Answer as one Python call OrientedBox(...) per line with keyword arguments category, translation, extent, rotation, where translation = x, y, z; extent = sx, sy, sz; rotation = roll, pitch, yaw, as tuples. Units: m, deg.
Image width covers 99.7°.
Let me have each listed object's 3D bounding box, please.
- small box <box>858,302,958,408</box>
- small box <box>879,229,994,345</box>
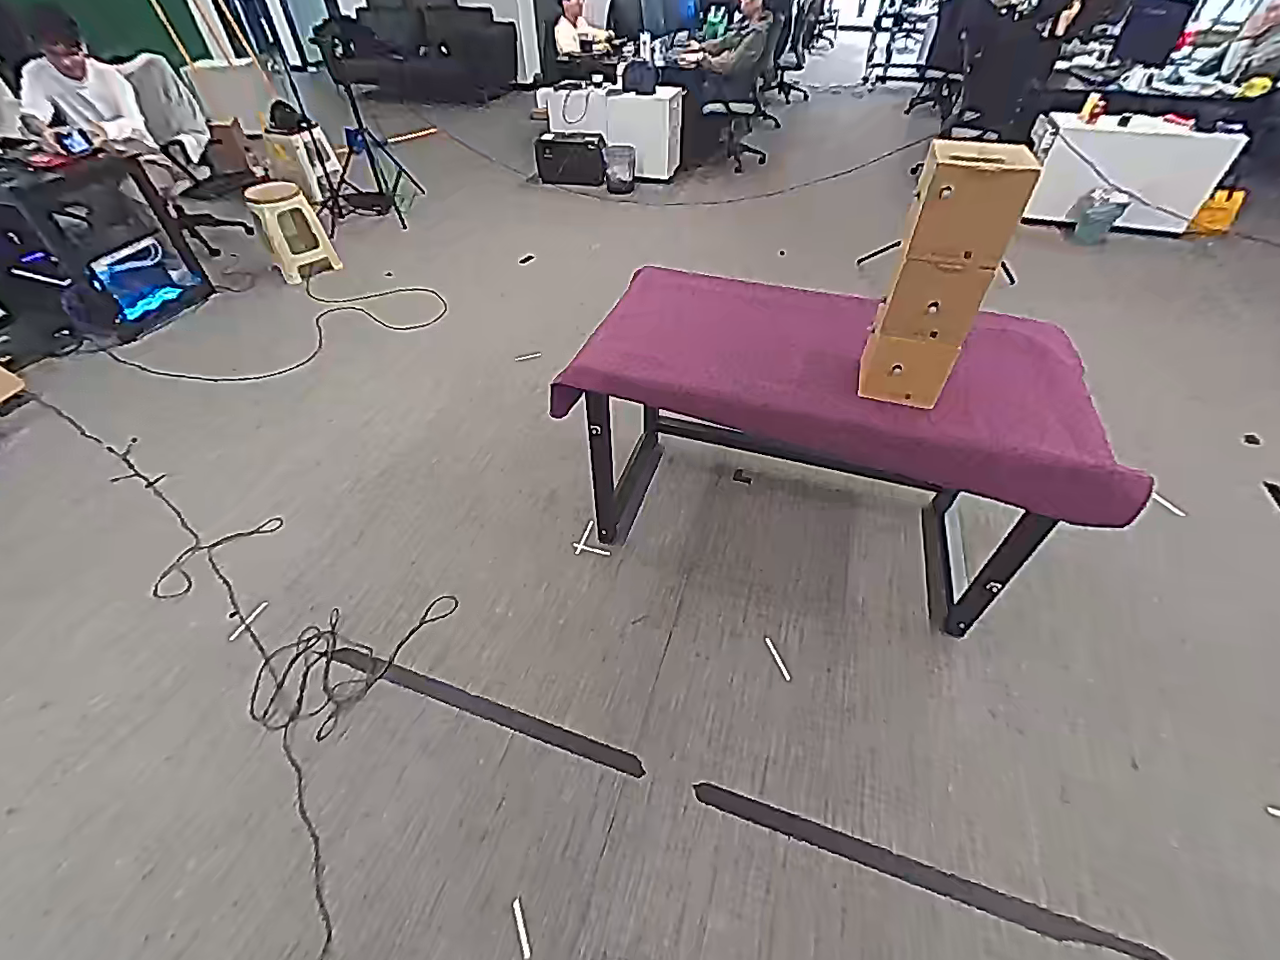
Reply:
OrientedBox(category="small box", translation=(0.619, -0.291, 1.262), extent=(0.168, 0.176, 0.179), rotation=(13, 46, 13))
OrientedBox(category="small box", translation=(0.620, -0.409, 1.148), extent=(0.168, 0.176, 0.179), rotation=(14, 47, 14))
